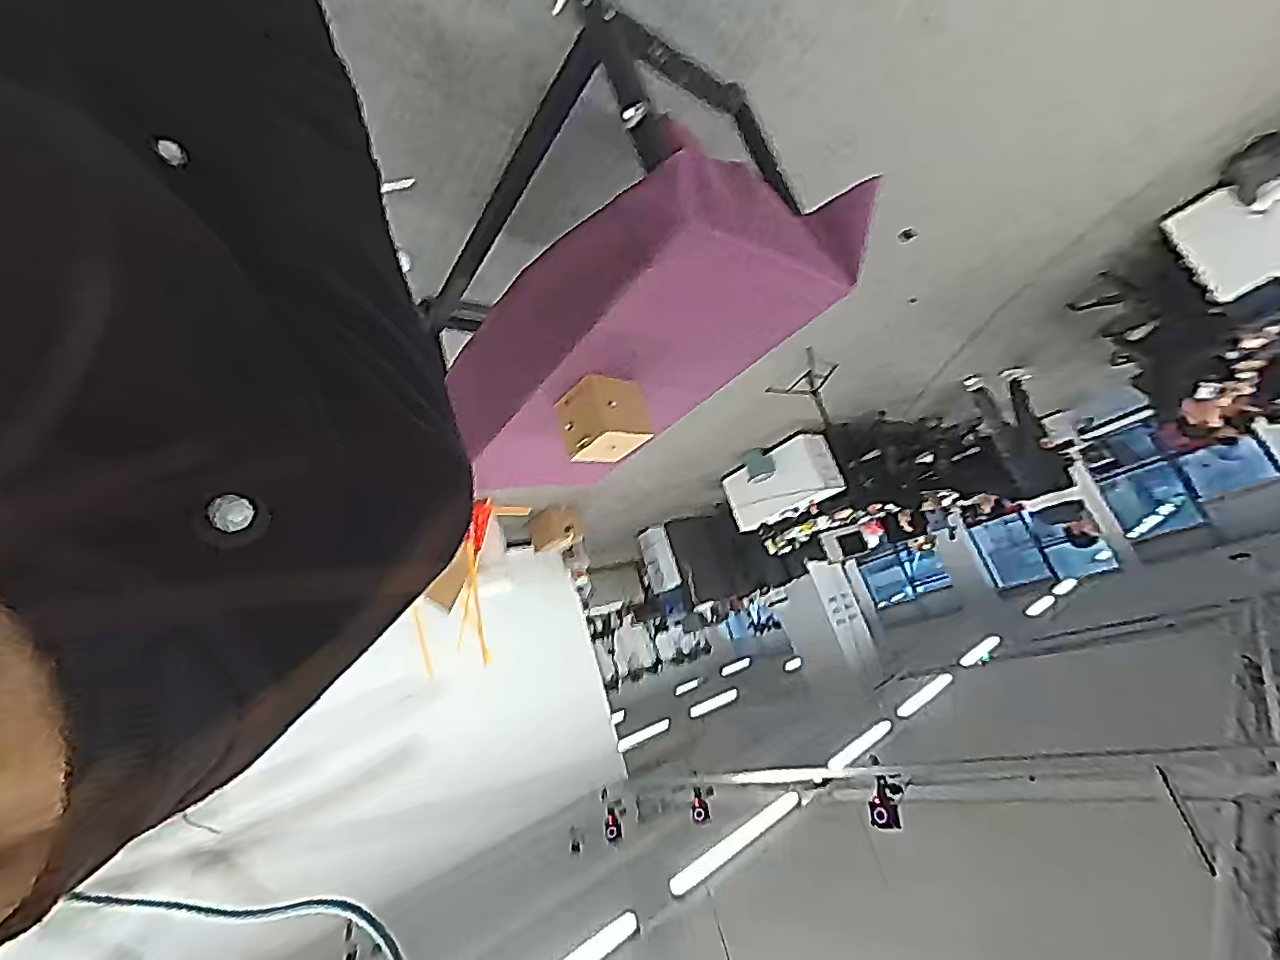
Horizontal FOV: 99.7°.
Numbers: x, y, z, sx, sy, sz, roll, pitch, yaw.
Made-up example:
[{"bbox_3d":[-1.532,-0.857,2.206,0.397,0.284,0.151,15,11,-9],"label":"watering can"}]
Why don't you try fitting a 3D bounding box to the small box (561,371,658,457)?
[{"bbox_3d":[-0.087,-0.173,1.441,0.179,0.176,0.168,-2,157,-46],"label":"small box"}]
